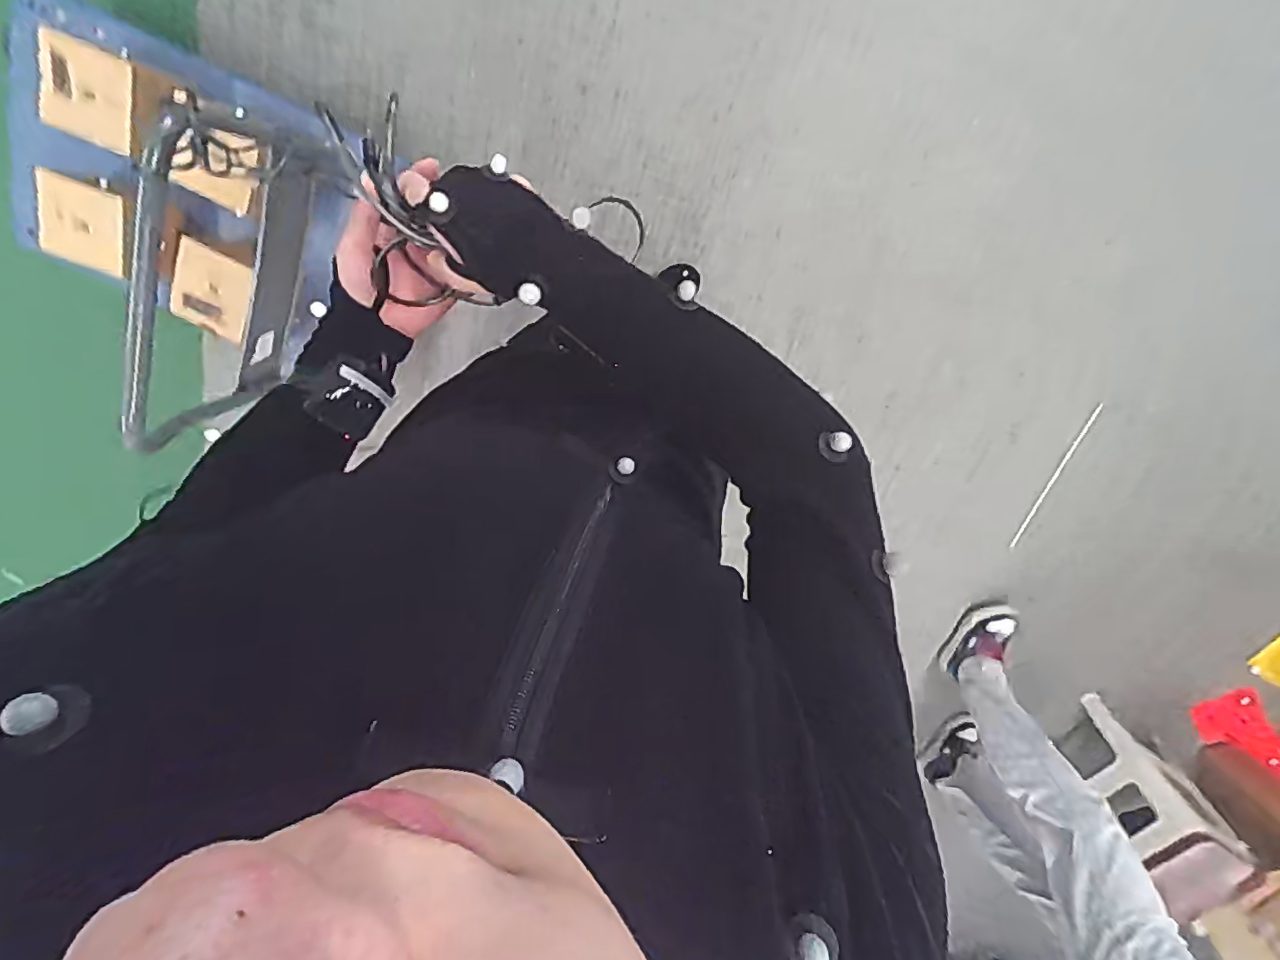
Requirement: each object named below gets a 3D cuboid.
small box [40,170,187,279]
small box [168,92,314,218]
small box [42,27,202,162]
[{"bbox_3d":[-1.178,-0.572,1.223,0.179,0.176,0.168,21,111,-6],"label":"small box"},{"bbox_3d":[-0.850,-0.683,1.162,0.179,0.176,0.168,25,112,-8],"label":"small box"},{"bbox_3d":[-1.072,-0.785,1.128,0.179,0.176,0.168,22,113,-7],"label":"small box"}]
